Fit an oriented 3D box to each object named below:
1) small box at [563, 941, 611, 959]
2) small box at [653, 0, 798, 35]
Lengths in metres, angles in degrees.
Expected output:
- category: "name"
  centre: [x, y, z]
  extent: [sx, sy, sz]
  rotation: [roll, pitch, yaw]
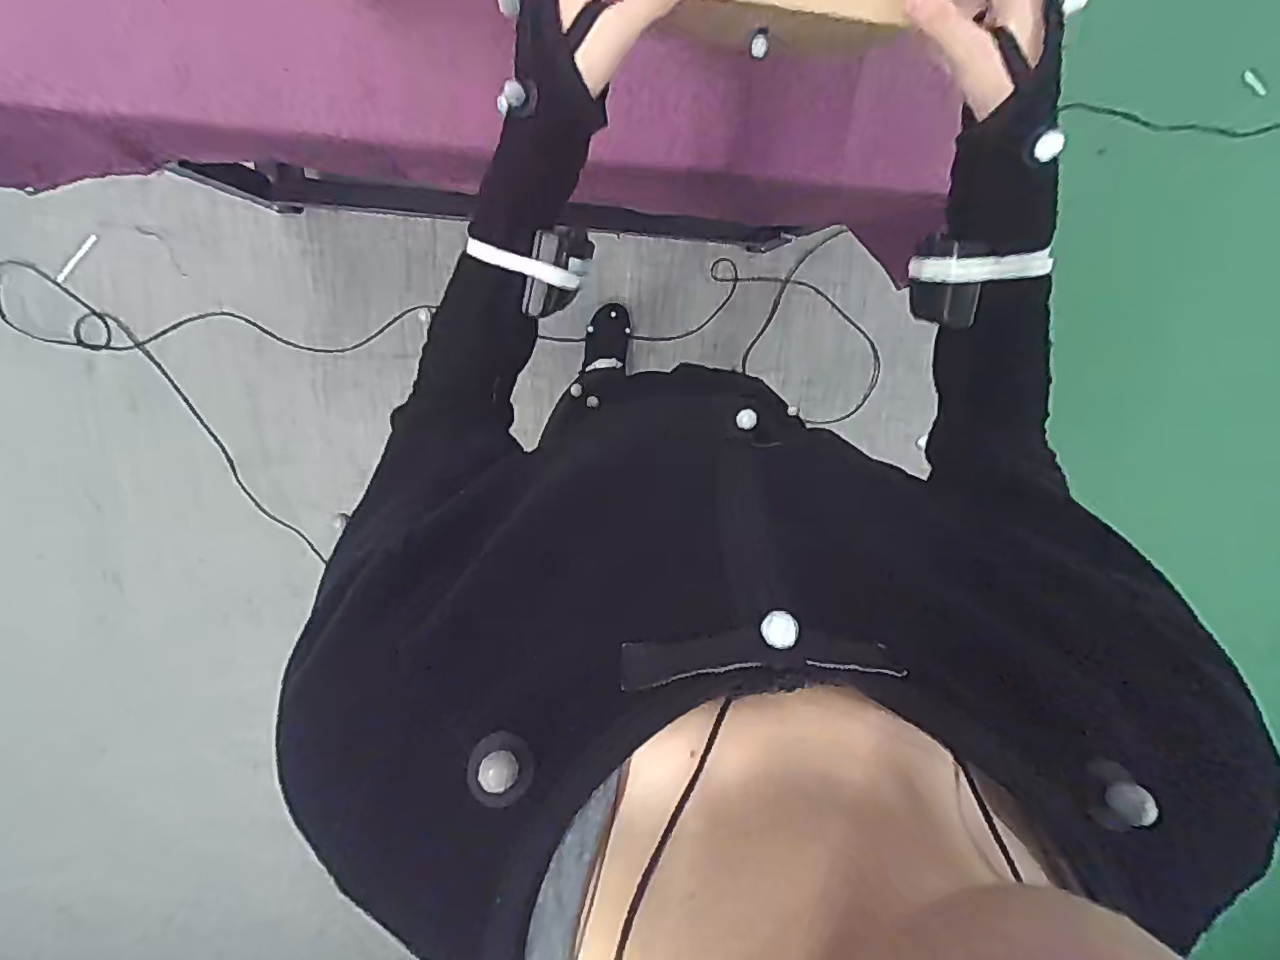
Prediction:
- category: "small box"
  centre: [-0.193, 1.777, 1.900]
  extent: [0.168, 0.176, 0.179]
  rotation: [10, 103, -10]
- category: "small box"
  centre: [0.099, -0.584, 0.528]
  extent: [0.168, 0.176, 0.179]
  rotation: [3, 104, -7]
